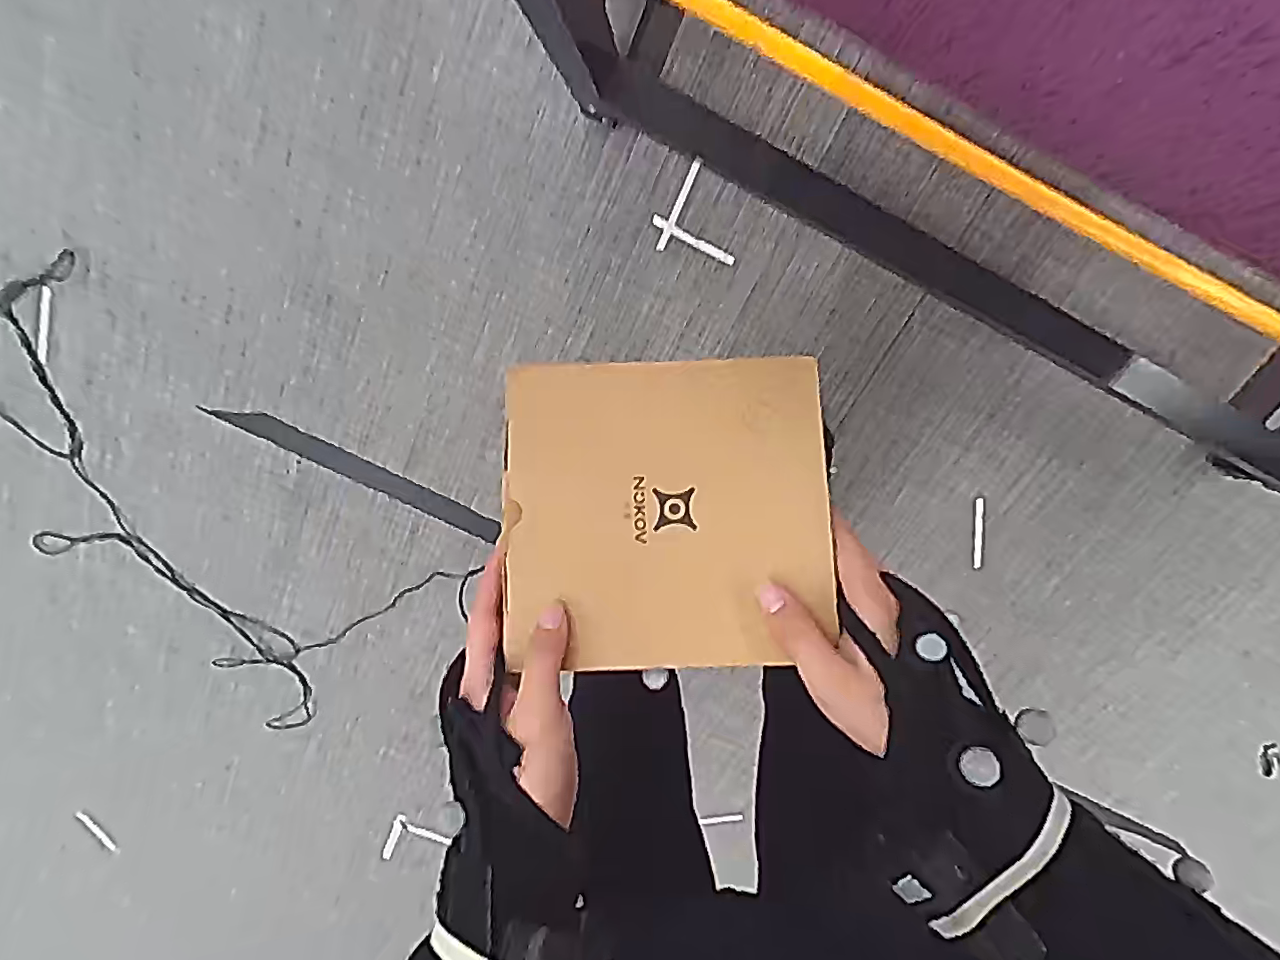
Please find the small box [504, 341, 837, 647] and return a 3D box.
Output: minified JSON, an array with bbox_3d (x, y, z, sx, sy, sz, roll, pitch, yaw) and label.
[{"bbox_3d":[0.014,0.016,0.370,0.179,0.176,0.168,-2,81,1],"label":"small box"}]
